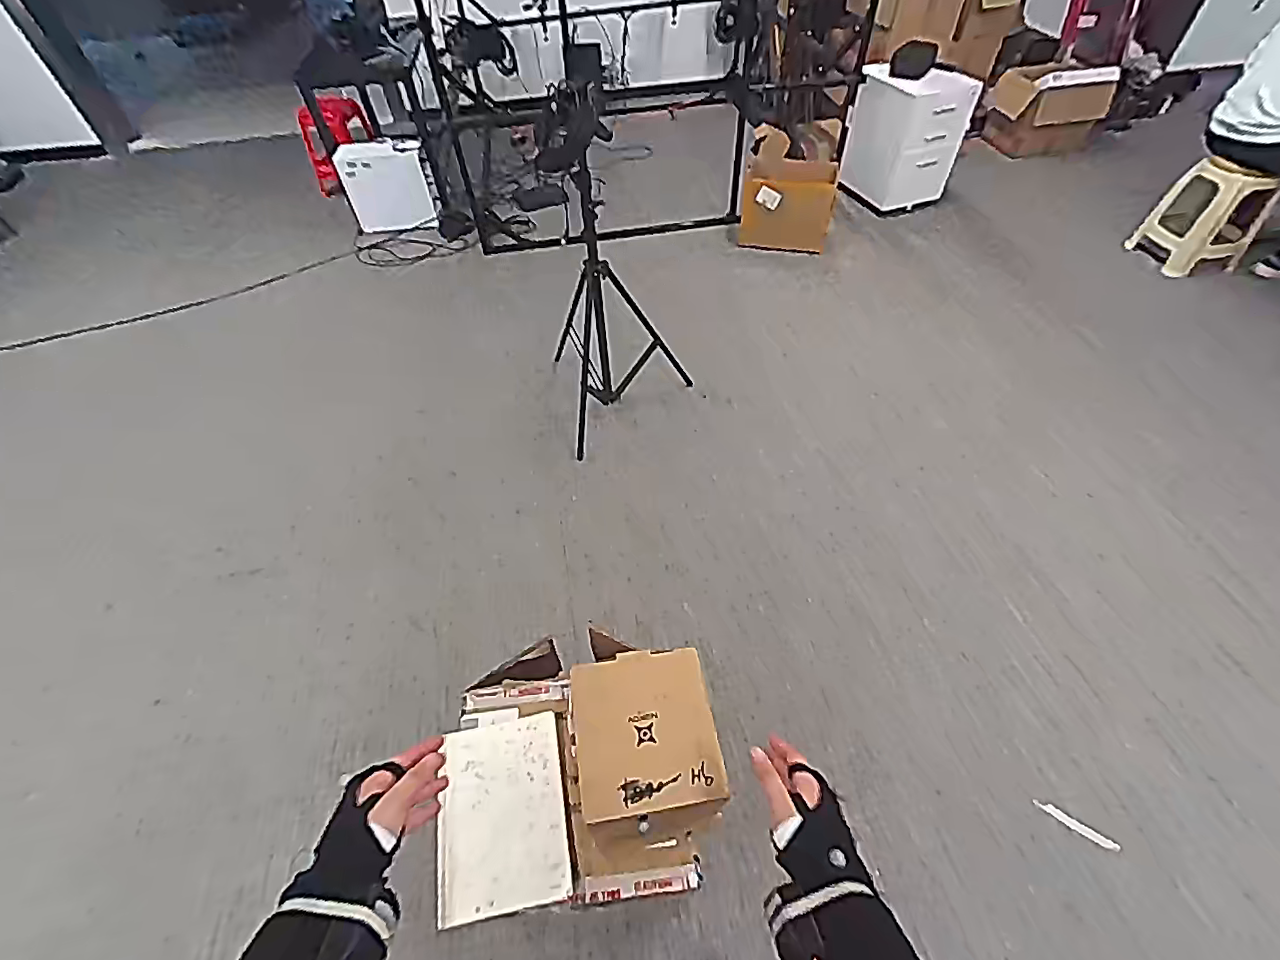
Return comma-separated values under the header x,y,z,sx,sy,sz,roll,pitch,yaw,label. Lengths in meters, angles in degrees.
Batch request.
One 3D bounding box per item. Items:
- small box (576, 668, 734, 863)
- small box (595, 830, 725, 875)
x,y,z,sx,sy,sz,roll,pitch,yaw,label
0.010,0.368,0.697,0.168,0.176,0.179,-7,51,-6,small box
0.014,0.478,0.819,0.179,0.176,0.168,-10,51,-7,small box
